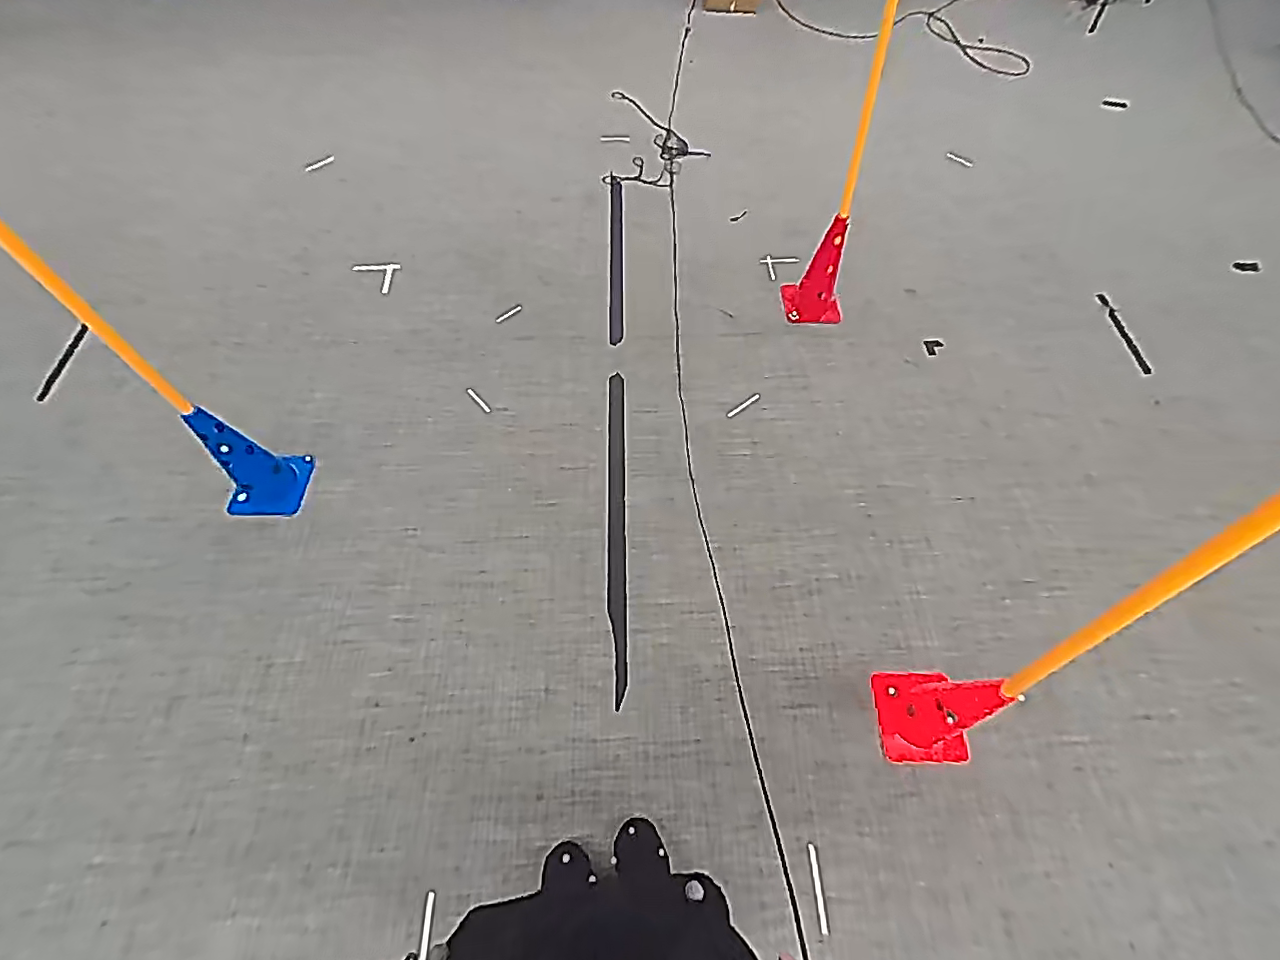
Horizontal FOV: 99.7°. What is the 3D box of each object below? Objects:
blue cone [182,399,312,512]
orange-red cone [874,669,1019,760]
[{"bbox_3d":[-1.071,-0.075,1.436,0.193,0.380,0.192,2,59,0],"label":"blue cone"},{"bbox_3d":[0.668,0.467,1.132,0.198,0.360,0.199,2,60,0],"label":"orange-red cone"}]
